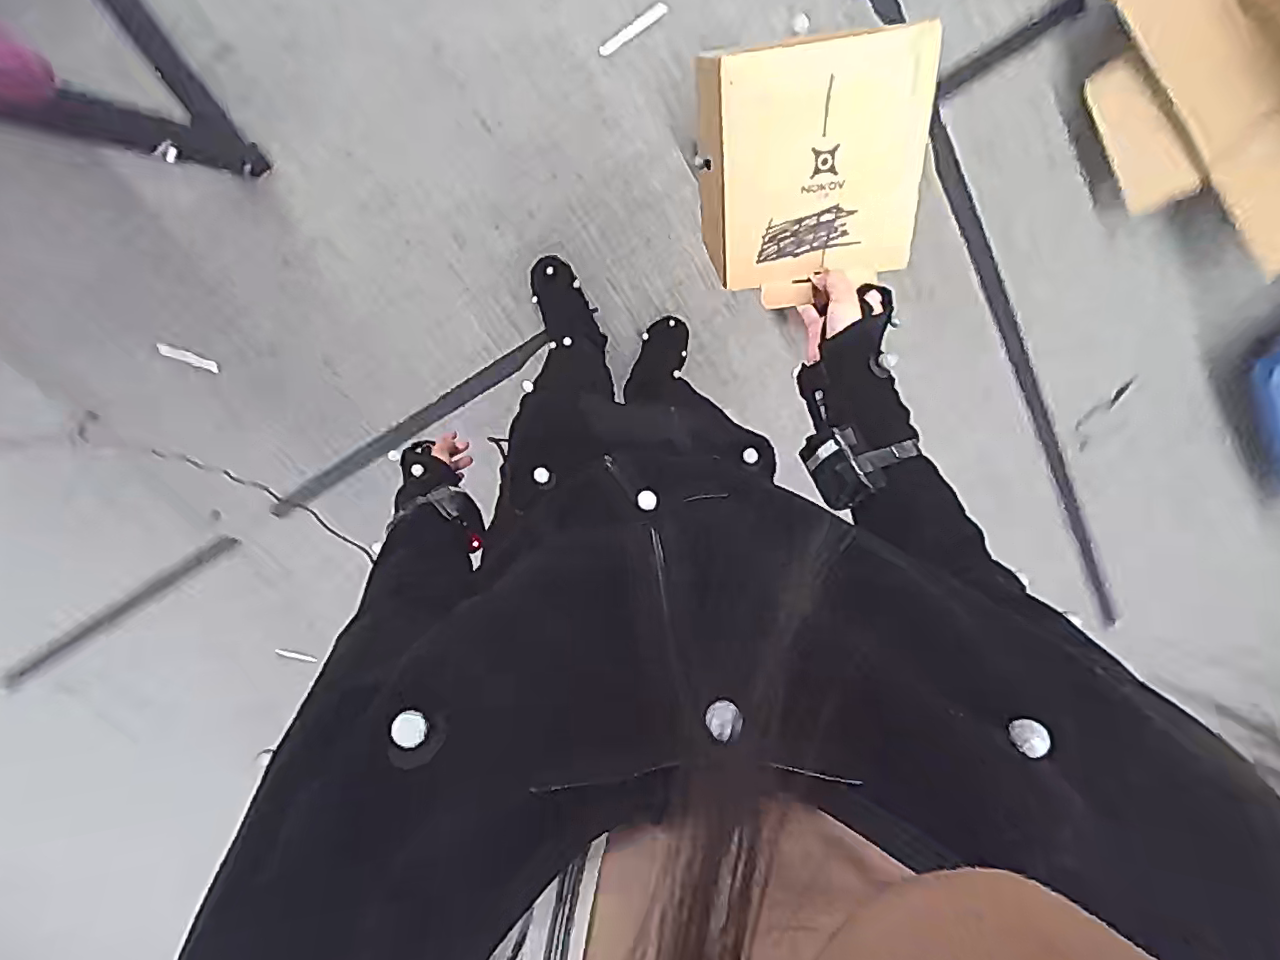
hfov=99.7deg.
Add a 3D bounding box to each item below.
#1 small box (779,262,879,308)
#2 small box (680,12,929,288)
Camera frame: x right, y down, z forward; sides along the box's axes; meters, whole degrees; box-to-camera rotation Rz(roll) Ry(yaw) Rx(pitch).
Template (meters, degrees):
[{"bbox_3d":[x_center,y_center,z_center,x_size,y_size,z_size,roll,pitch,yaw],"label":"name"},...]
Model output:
[{"bbox_3d":[0.372,-0.499,1.152,0.168,0.176,0.179,-32,112,13],"label":"small box"},{"bbox_3d":[0.134,-0.304,0.501,0.168,0.176,0.179,-9,128,3],"label":"small box"}]
